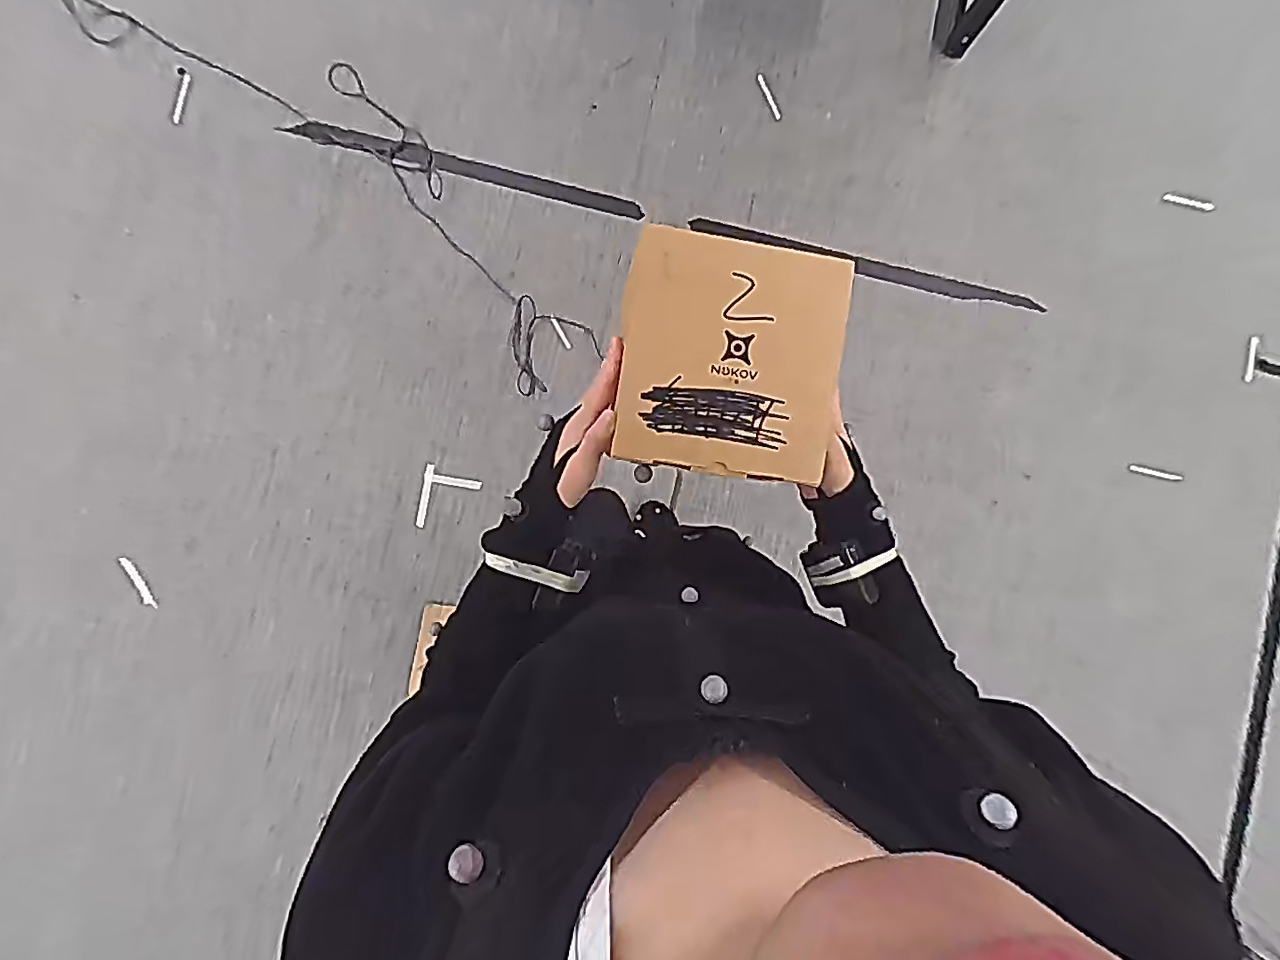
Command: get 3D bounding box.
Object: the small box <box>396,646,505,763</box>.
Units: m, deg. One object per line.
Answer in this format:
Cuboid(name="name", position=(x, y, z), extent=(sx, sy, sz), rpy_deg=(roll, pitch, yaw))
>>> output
Cuboid(name="small box", position=(-0.417, 0.497, 1.220), extent=(0.168, 0.176, 0.179), rpy_deg=(15, 87, -2))
